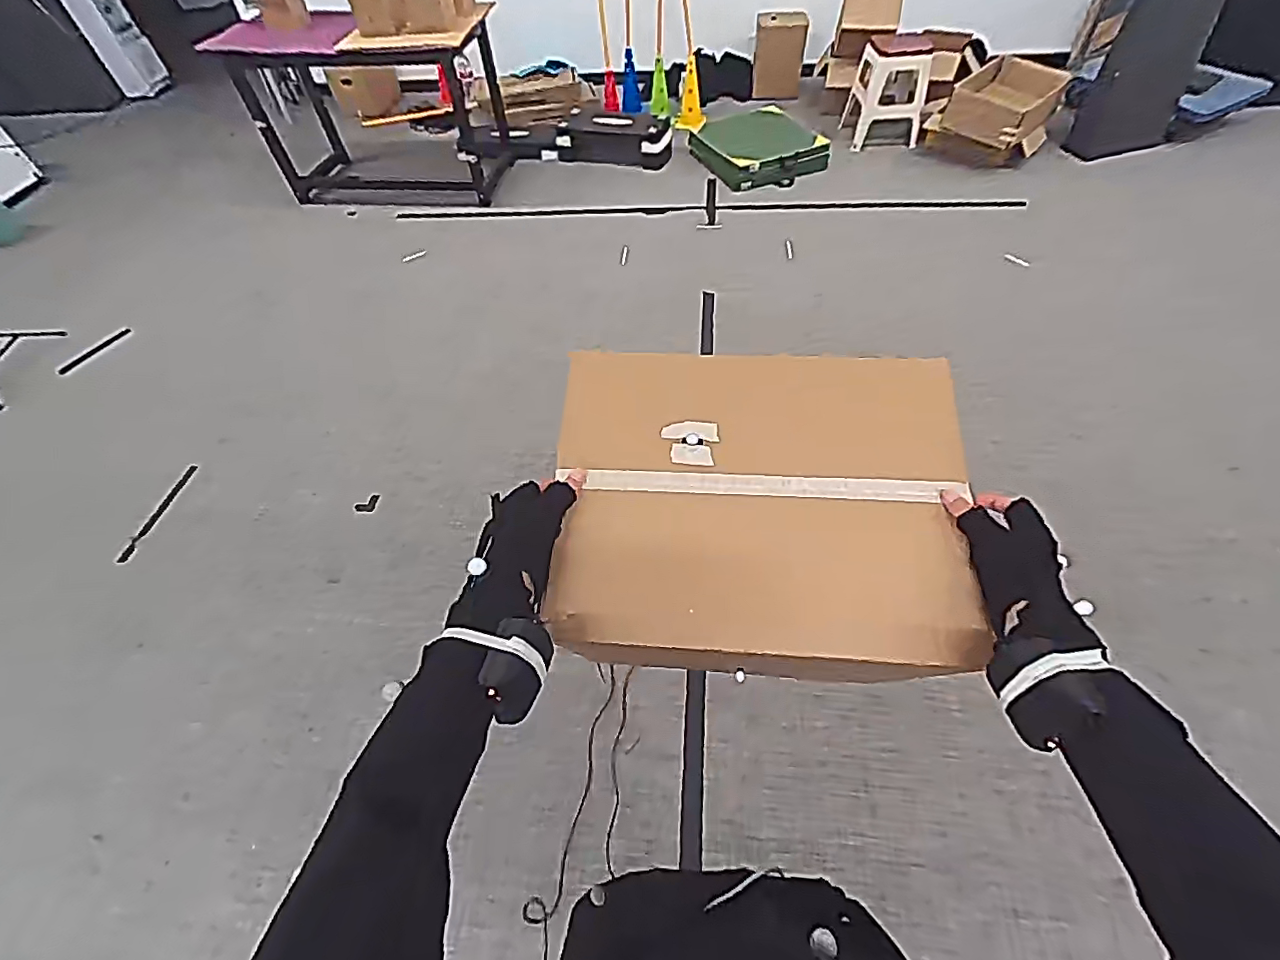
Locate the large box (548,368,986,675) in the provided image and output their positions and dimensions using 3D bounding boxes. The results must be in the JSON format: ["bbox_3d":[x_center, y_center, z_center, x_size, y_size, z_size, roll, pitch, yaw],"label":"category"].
[{"bbox_3d":[0.131,0.072,0.685,0.408,0.320,0.320,2,67,6],"label":"large box"}]
